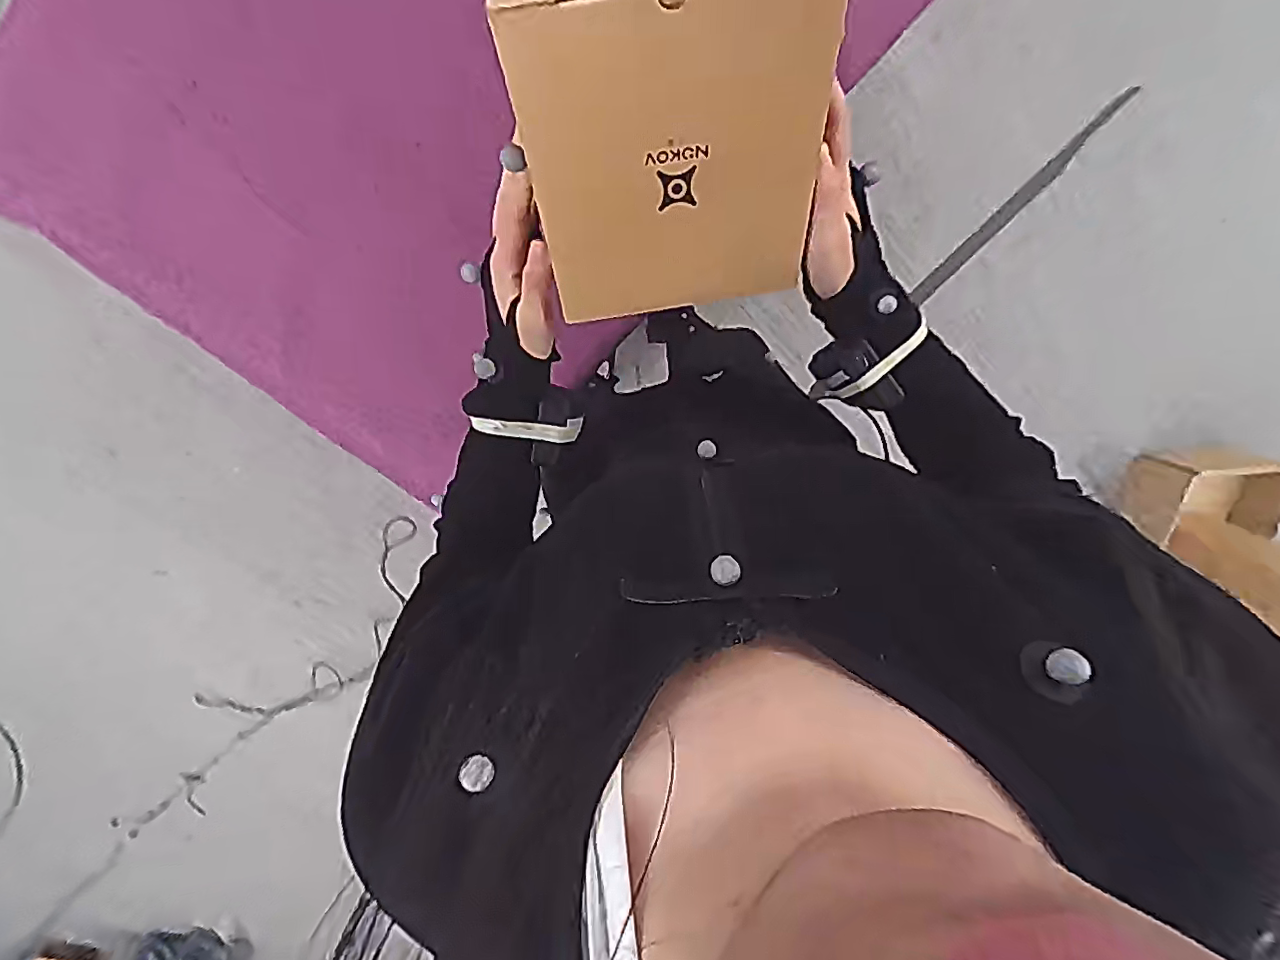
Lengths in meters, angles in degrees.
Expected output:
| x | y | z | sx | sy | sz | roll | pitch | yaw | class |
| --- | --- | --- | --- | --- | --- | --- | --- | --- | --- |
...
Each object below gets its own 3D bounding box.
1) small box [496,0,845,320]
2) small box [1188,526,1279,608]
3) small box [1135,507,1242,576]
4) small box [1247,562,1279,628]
| x | y | z | sx | sy | sz | roll | pitch | yaw | class |
| --- | --- | --- | --- | --- | --- | --- | --- | --- | --- |
| 0.011 | -0.238 | 0.361 | 0.168 | 0.176 | 0.179 | -9 | 144 | -1 | small box |
| 1.820 | 0.255 | 1.617 | 0.179 | 0.176 | 0.168 | -8 | 116 | -6 | small box |
| 1.798 | 0.195 | 1.766 | 0.179 | 0.176 | 0.168 | -3 | 114 | -6 | small box |
| 1.840 | 0.327 | 1.470 | 0.179 | 0.176 | 0.168 | -7 | 116 | -4 | small box |
